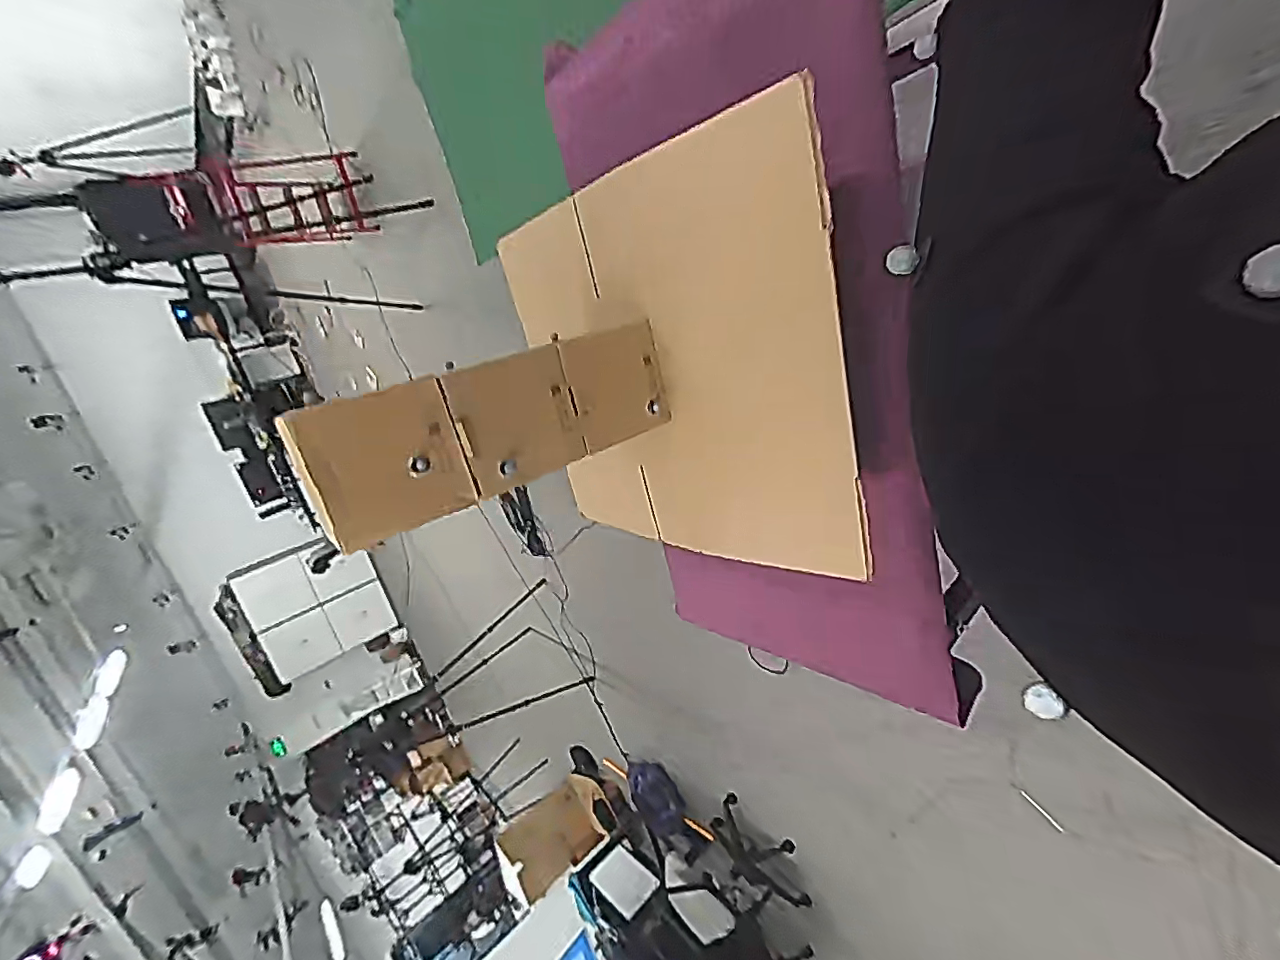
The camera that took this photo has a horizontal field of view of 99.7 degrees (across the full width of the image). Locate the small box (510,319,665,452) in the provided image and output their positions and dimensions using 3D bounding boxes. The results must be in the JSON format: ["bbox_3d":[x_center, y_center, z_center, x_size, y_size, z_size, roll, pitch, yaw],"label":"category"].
[{"bbox_3d":[-0.077,-0.152,0.870,0.179,0.176,0.168,9,118,52],"label":"small box"}]

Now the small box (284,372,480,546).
[{"bbox_3d":[-0.330,-0.035,0.697,0.179,0.176,0.168,6,116,53],"label":"small box"}]
